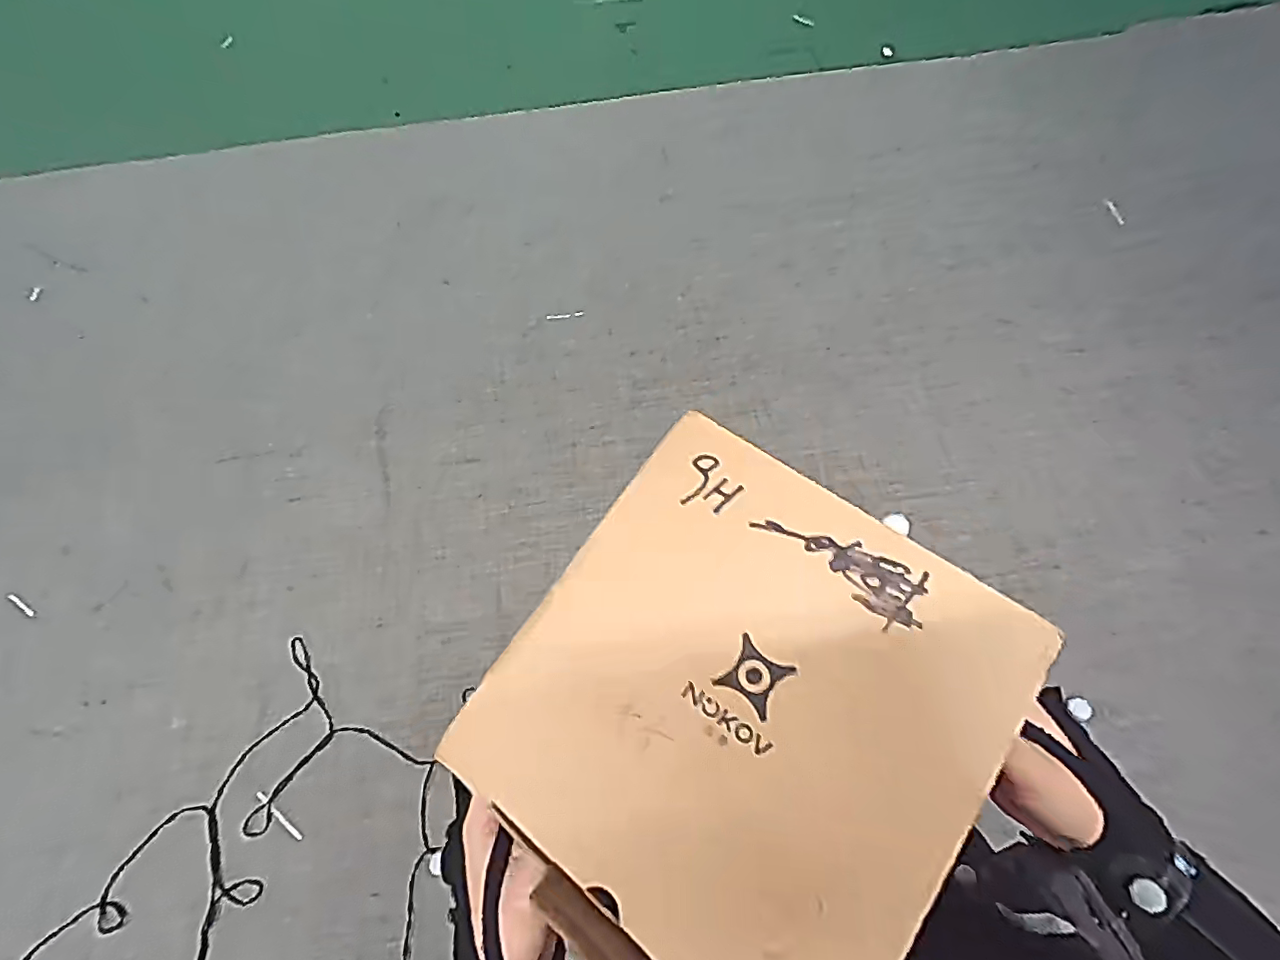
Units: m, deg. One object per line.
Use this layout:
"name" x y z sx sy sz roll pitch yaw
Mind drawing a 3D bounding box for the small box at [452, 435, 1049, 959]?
"small box" 0.048 0.114 0.282 0.168 0.176 0.179 34 79 16
